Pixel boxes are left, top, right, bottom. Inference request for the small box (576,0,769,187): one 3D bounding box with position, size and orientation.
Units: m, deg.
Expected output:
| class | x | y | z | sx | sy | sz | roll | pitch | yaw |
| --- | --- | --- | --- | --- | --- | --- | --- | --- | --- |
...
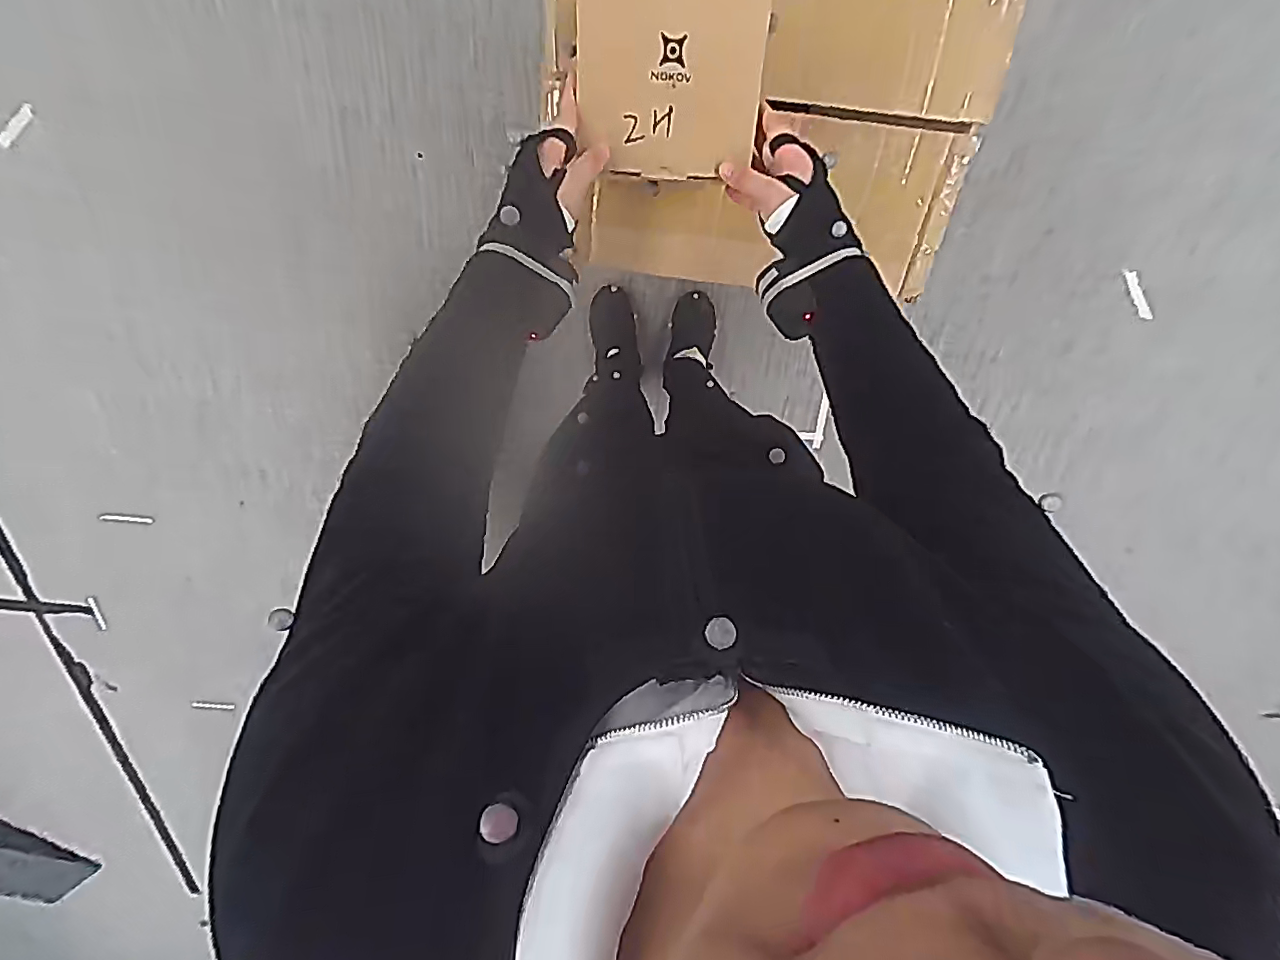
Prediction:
| class | x | y | z | sx | sy | sz | roll | pitch | yaw |
| --- | --- | --- | --- | --- | --- | --- | --- | --- | --- |
| small box | 0.021 | -0.403 | 0.546 | 0.168 | 0.176 | 0.179 | 1 | 117 | -4 |
